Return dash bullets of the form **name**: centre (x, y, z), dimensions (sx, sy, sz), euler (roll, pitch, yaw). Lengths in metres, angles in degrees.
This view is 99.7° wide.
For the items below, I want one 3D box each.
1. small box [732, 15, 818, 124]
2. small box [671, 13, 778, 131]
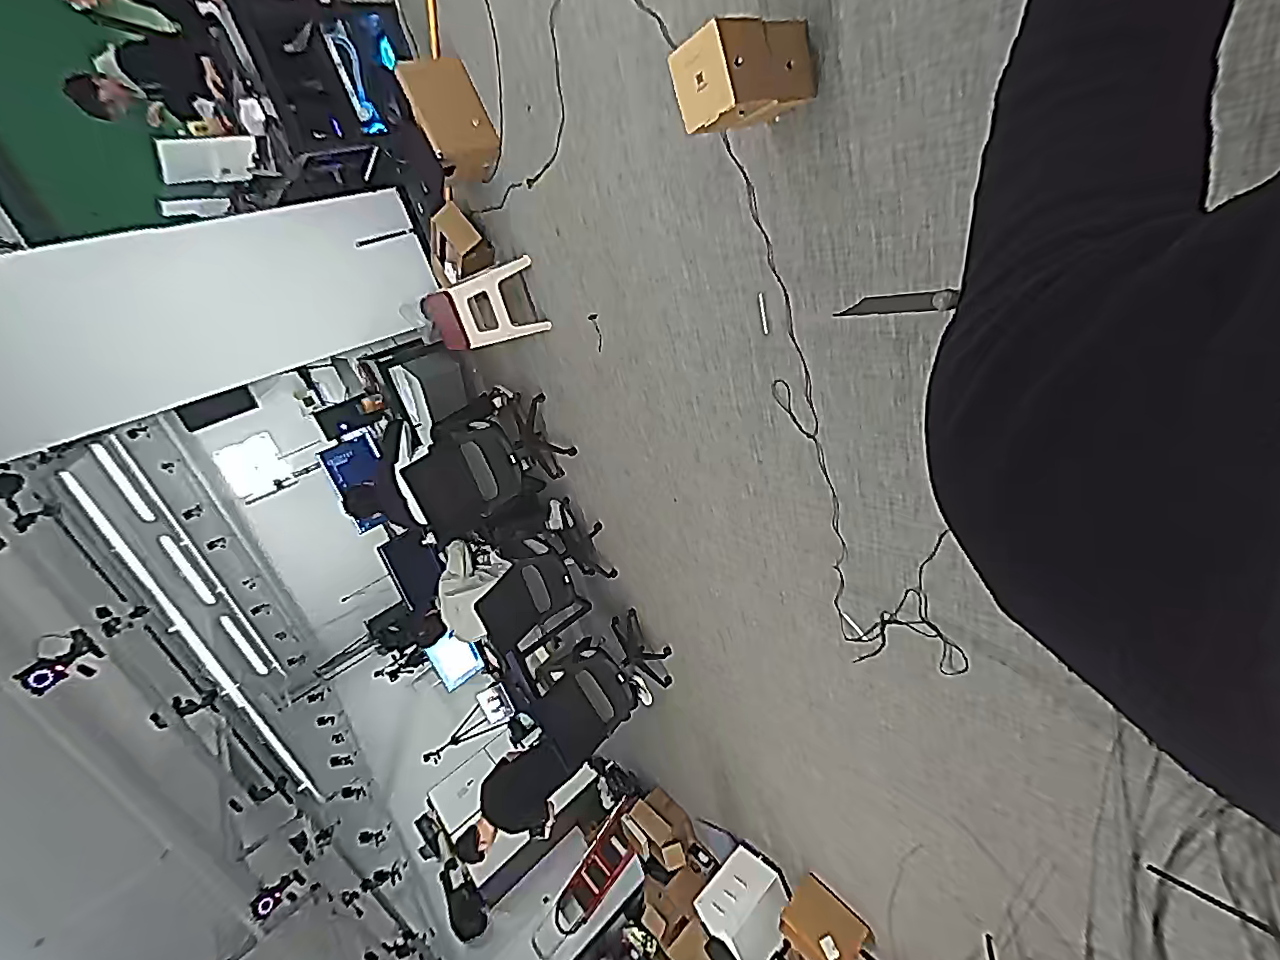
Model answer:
- **small box**: centre (0.331, -1.049, 1.387), dimensions (0.168, 0.176, 0.179), euler (11, 127, 52)
- **small box**: centre (0.209, -0.981, 1.304), dimensions (0.168, 0.176, 0.179), euler (6, 121, 52)
